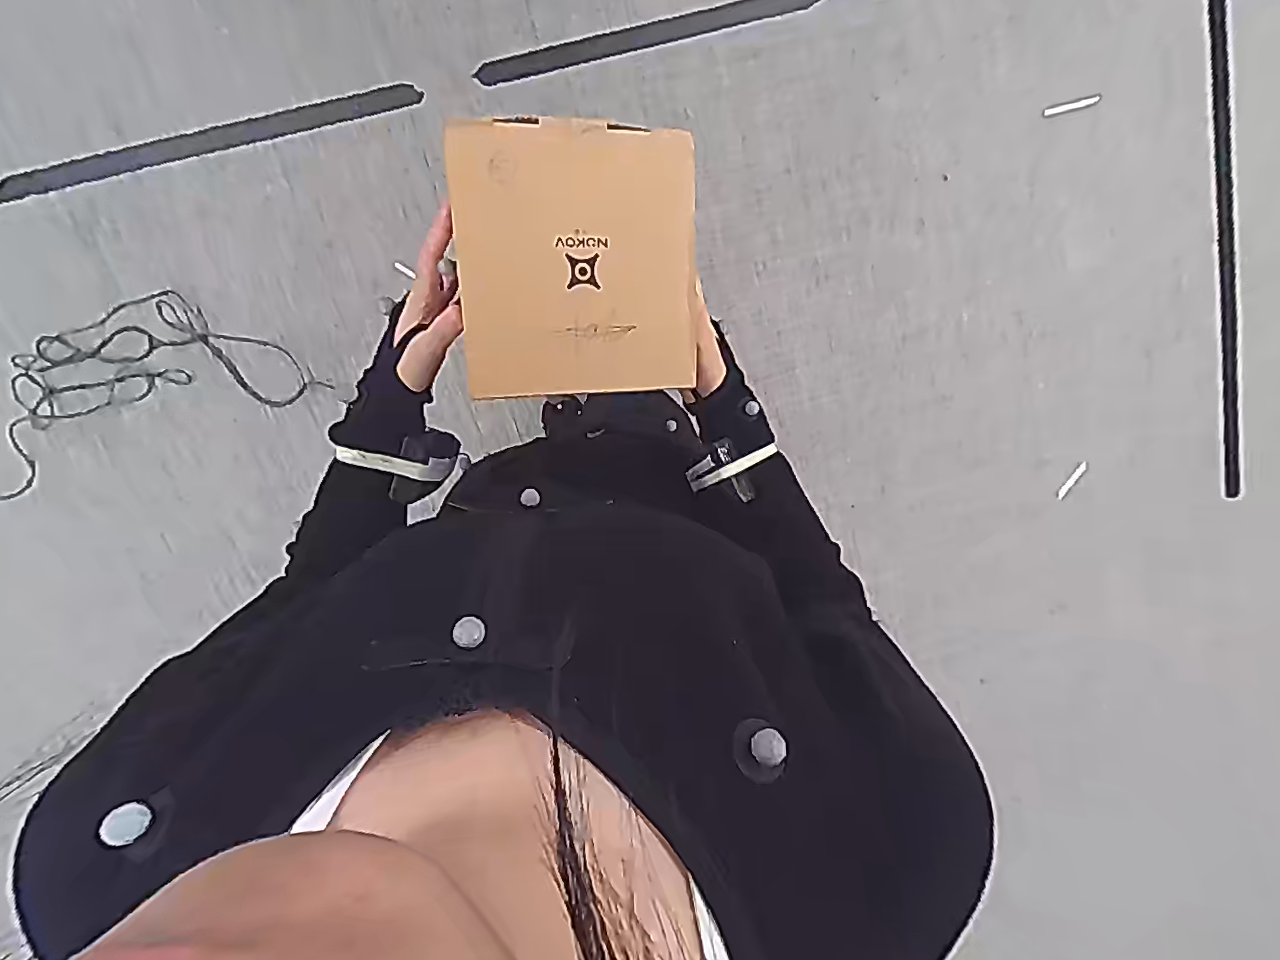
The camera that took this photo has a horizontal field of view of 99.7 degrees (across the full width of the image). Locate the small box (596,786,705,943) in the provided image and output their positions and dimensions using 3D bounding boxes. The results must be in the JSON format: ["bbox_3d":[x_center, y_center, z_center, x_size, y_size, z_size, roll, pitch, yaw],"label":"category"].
[{"bbox_3d":[0.013,0.742,1.067,0.168,0.176,0.179,-15,103,-4],"label":"small box"}]

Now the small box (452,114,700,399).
[{"bbox_3d":[-0.058,-0.162,0.443,0.168,0.176,0.179,-5,104,-14],"label":"small box"}]
